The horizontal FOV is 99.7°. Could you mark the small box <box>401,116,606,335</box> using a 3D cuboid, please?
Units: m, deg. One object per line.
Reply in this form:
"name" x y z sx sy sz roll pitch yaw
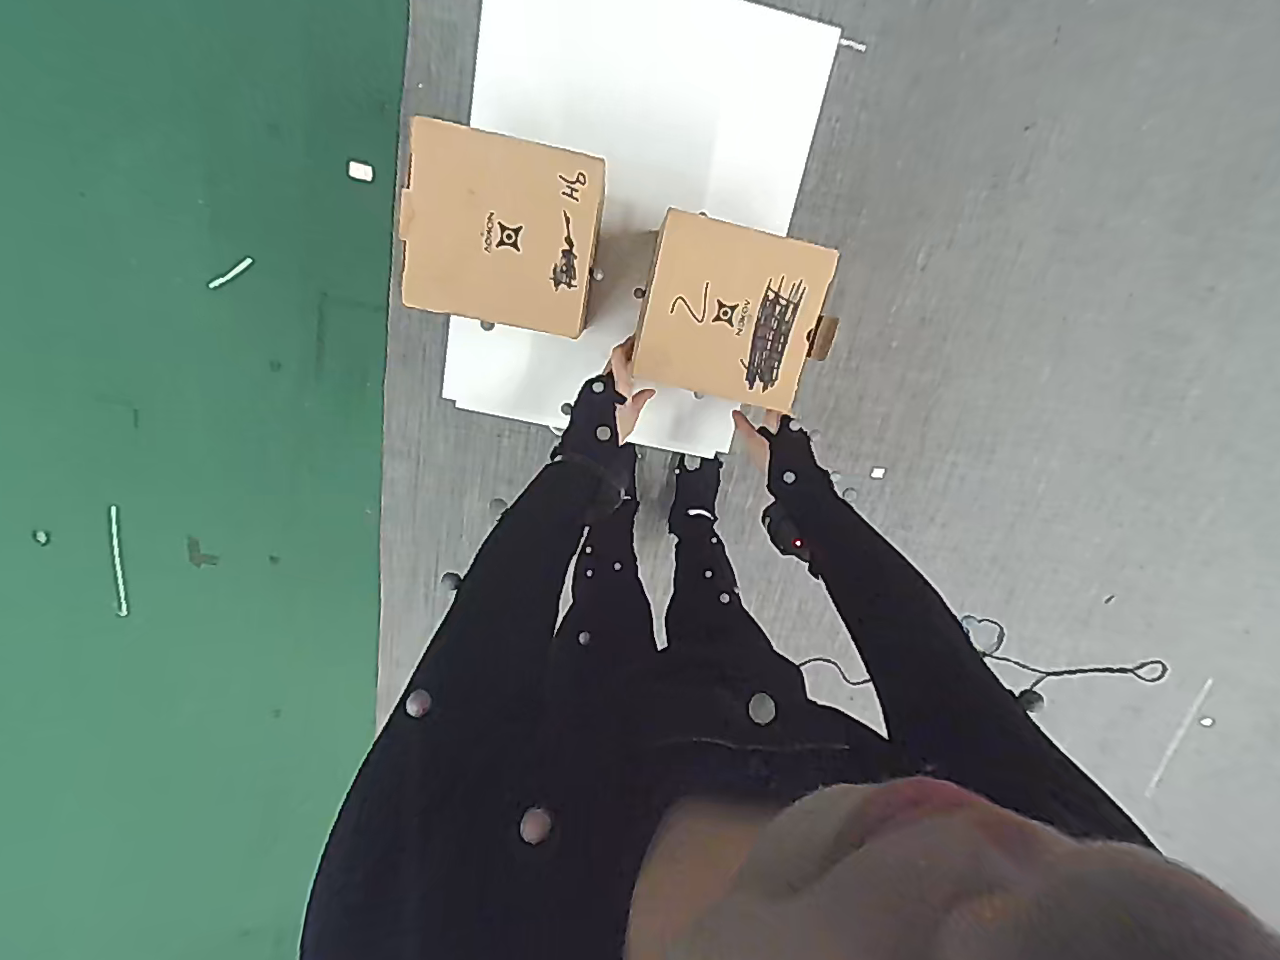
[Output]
"small box" -0.137 -0.258 0.589 0.179 0.176 0.168 9 106 -7
